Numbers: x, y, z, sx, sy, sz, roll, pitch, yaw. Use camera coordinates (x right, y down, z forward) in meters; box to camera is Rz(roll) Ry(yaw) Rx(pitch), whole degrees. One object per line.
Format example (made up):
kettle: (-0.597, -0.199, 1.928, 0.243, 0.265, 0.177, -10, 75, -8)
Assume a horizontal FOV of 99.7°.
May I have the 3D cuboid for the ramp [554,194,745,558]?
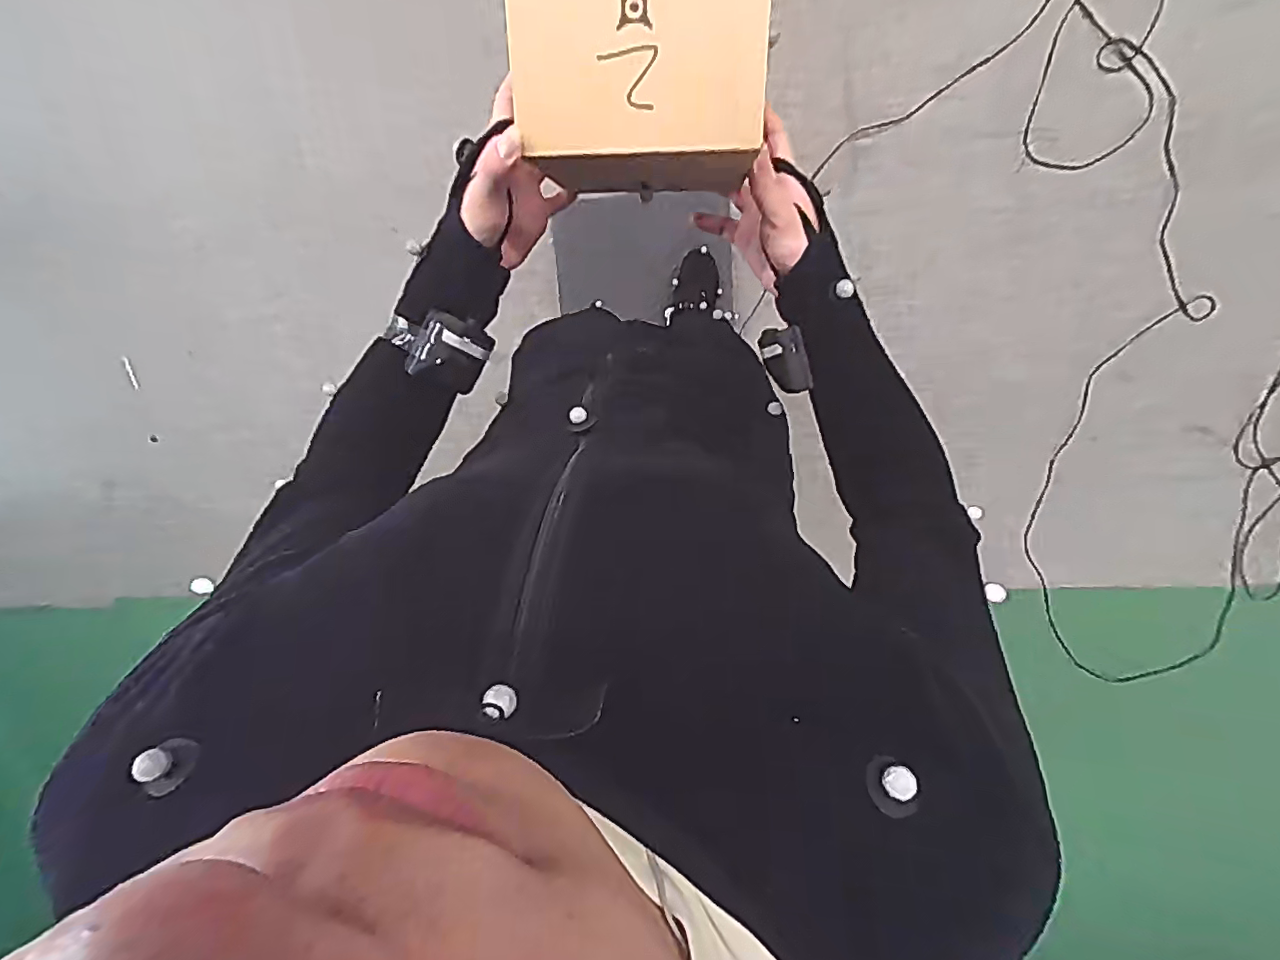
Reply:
ramp: (0.035, -0.261, 1.555, 0.509, 0.206, 0.991, -4, 110, 8)
